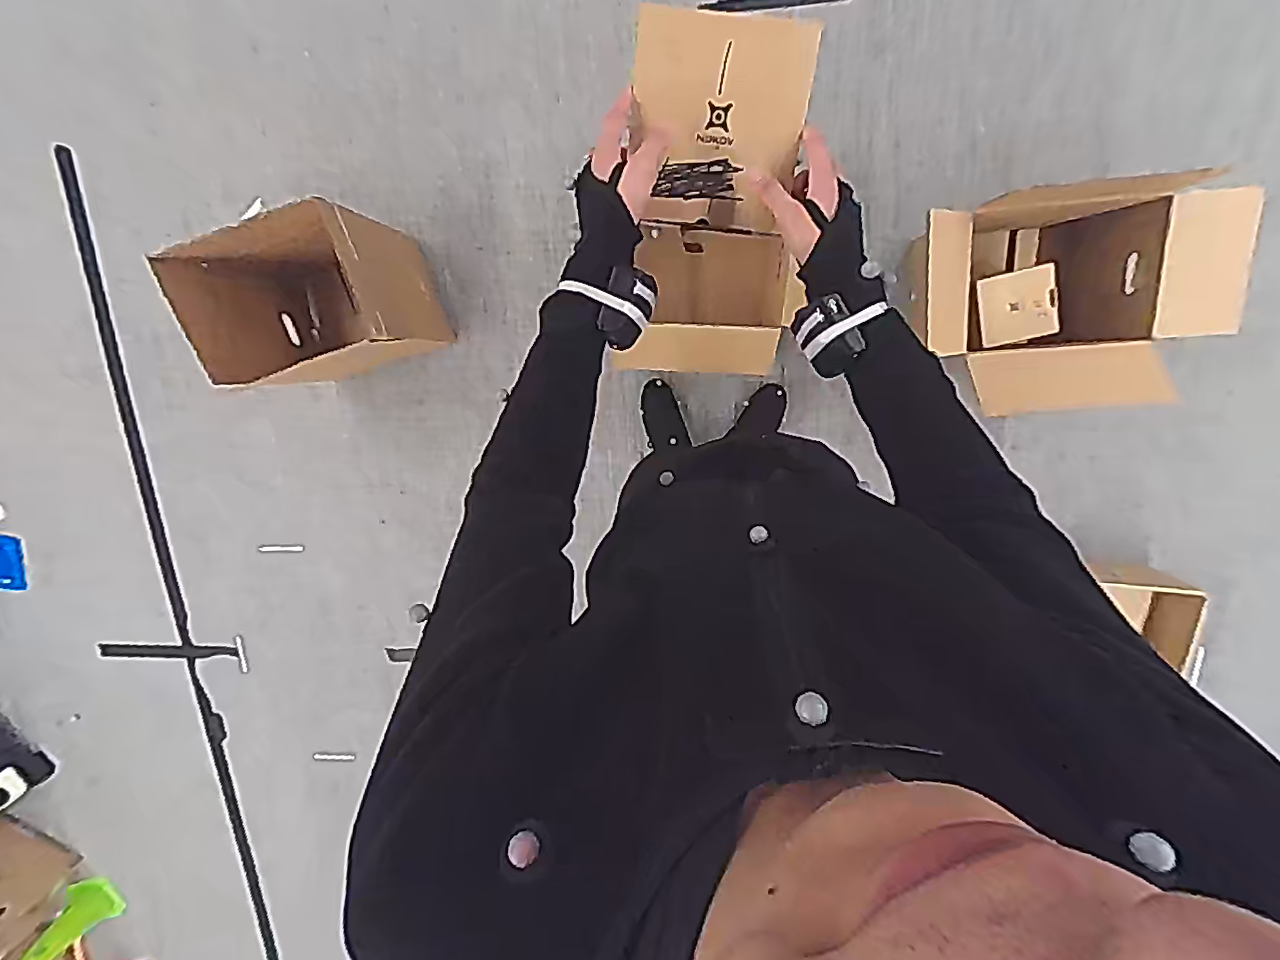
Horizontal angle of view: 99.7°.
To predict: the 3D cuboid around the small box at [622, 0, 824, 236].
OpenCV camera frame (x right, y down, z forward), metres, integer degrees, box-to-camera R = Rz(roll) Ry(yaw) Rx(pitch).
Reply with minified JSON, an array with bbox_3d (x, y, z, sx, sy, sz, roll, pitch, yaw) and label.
[{"bbox_3d":[0.078,-0.366,0.581,0.168,0.176,0.179,7,113,0],"label":"small box"}]
